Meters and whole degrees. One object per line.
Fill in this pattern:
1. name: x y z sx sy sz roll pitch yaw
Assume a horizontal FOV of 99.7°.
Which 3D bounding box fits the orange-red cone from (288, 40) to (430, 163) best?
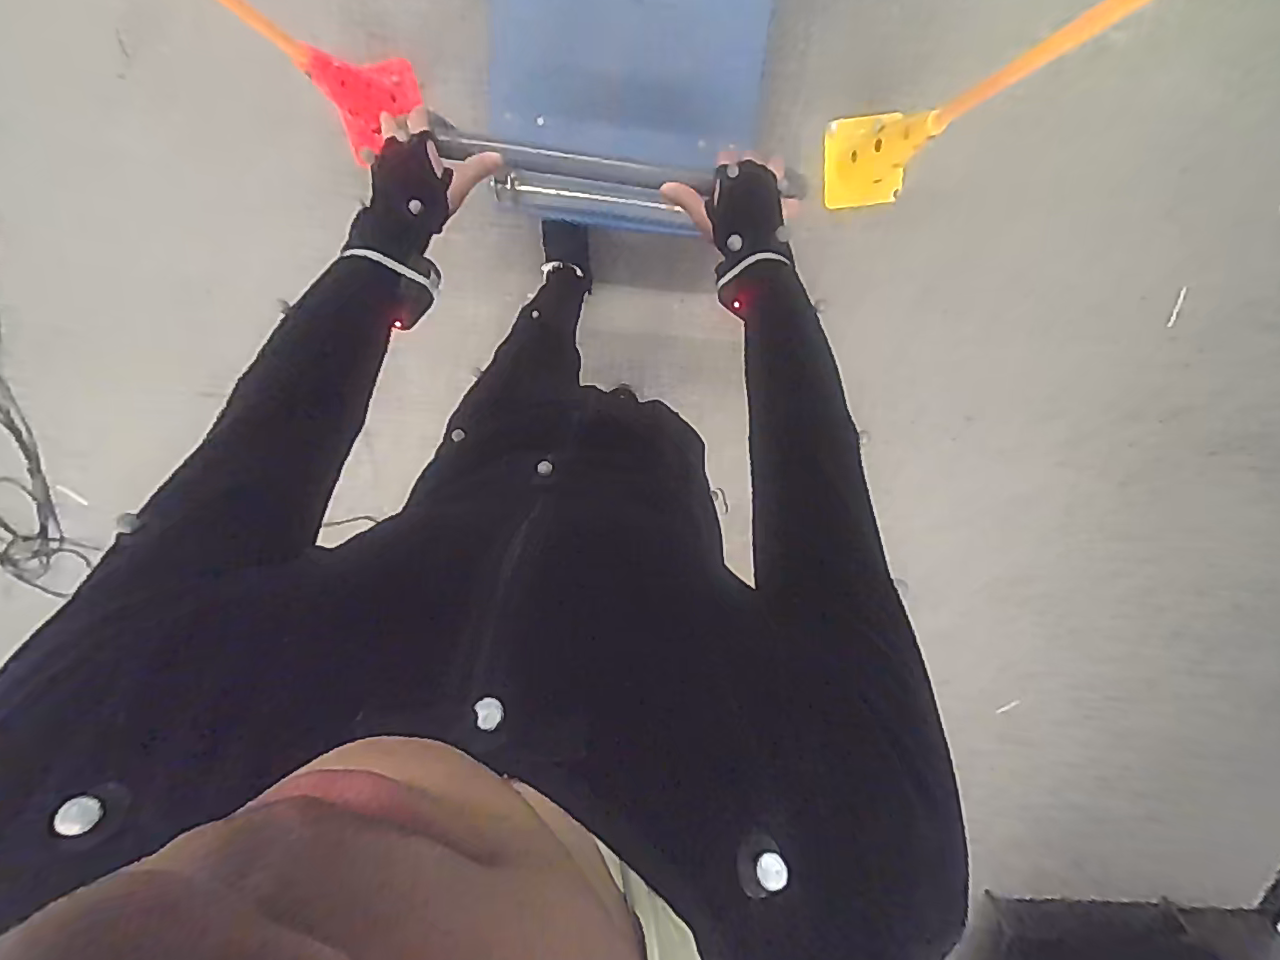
1. orange-red cone: -0.617 -0.824 1.135 0.199 0.360 0.198 -9 109 3
